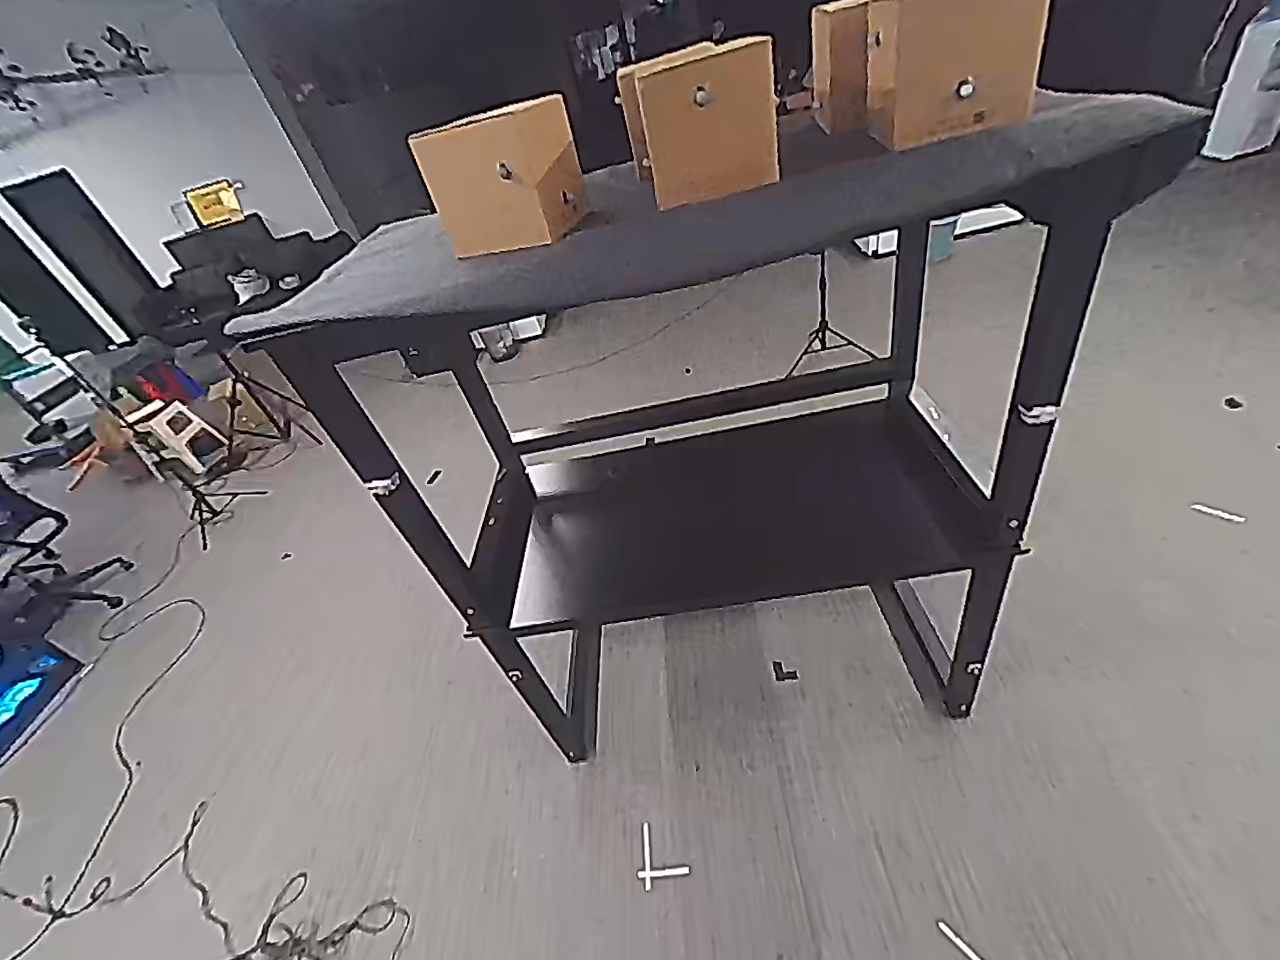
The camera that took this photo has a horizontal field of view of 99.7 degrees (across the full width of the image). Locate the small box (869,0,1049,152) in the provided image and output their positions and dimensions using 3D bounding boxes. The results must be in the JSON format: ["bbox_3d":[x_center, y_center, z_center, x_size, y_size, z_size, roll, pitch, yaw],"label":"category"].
[{"bbox_3d":[0.415,-0.567,0.735,0.168,0.176,0.179,-6,39,14],"label":"small box"}]

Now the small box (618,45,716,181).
[{"bbox_3d":[0.061,-0.666,0.987,0.168,0.176,0.179,-11,39,8],"label":"small box"}]

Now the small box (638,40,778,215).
[{"bbox_3d":[0.099,-0.513,0.790,0.179,0.176,0.168,-11,39,8],"label":"small box"}]
